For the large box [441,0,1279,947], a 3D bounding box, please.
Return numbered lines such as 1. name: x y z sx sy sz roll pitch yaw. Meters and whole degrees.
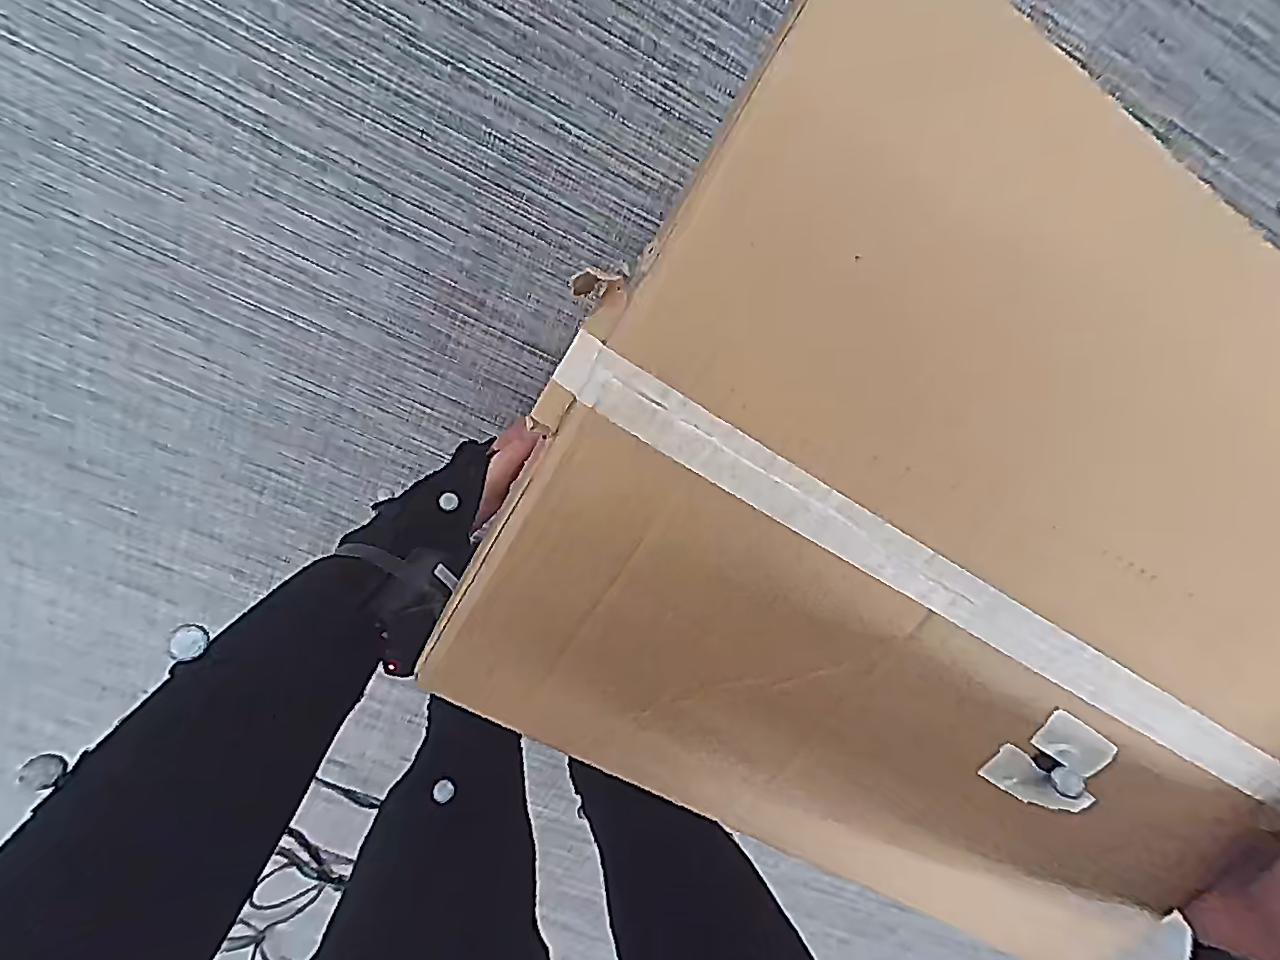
1. large box: 0.146 0.011 0.381 0.408 0.320 0.320 30 105 -12
